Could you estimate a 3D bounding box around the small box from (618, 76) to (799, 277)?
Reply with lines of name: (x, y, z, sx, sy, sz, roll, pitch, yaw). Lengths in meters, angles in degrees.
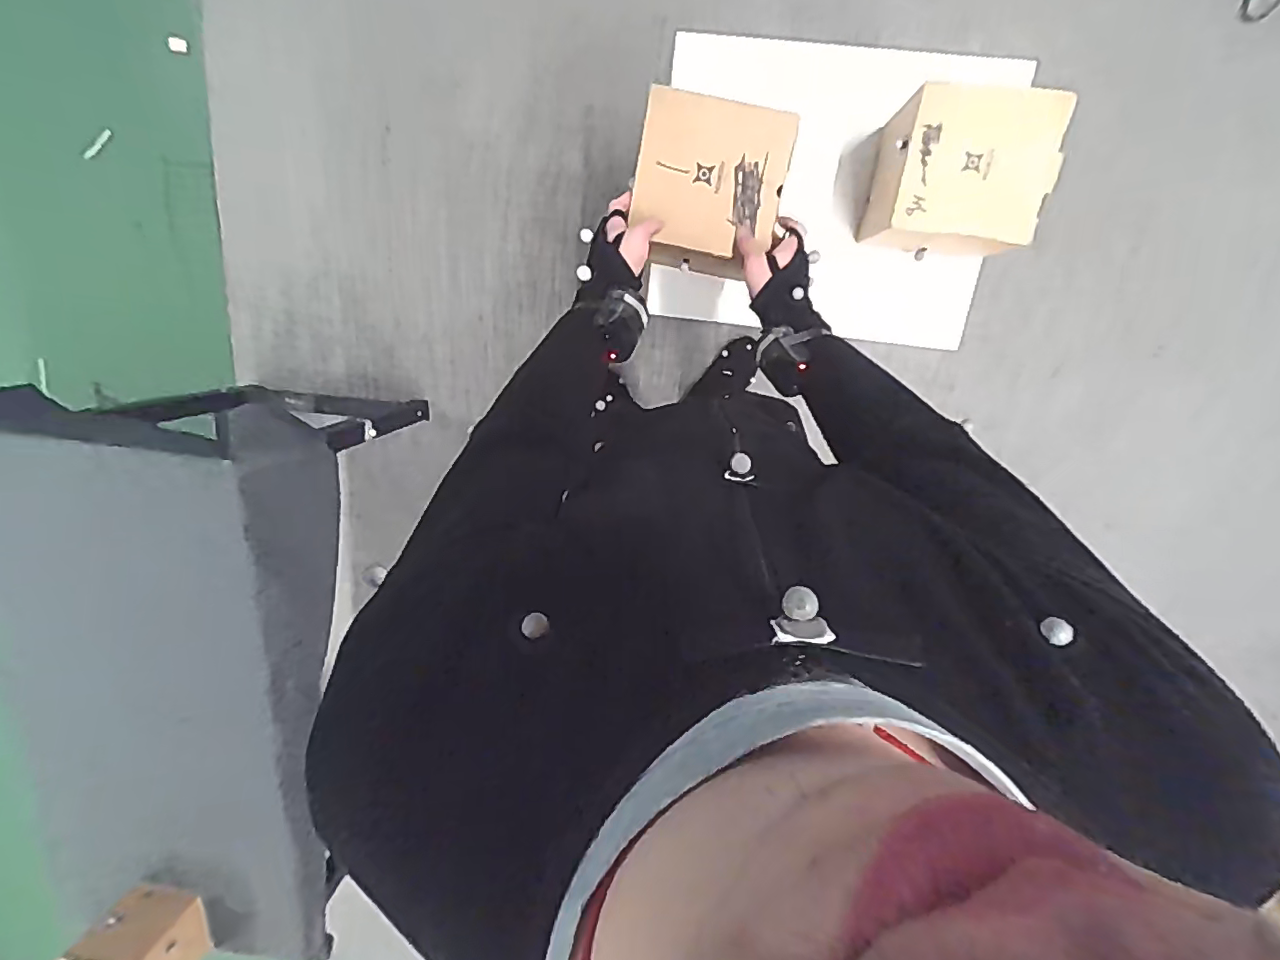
small box: (0.076, -0.365, 0.689, 0.179, 0.176, 0.168, 11, 103, -2)

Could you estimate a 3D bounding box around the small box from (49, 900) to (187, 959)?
small box: (-1.088, 1.013, 1.111, 0.168, 0.176, 0.179, 6, 107, 4)

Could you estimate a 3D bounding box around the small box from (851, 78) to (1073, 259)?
small box: (0.413, -0.402, 0.729, 0.179, 0.176, 0.168, 9, 106, 1)
